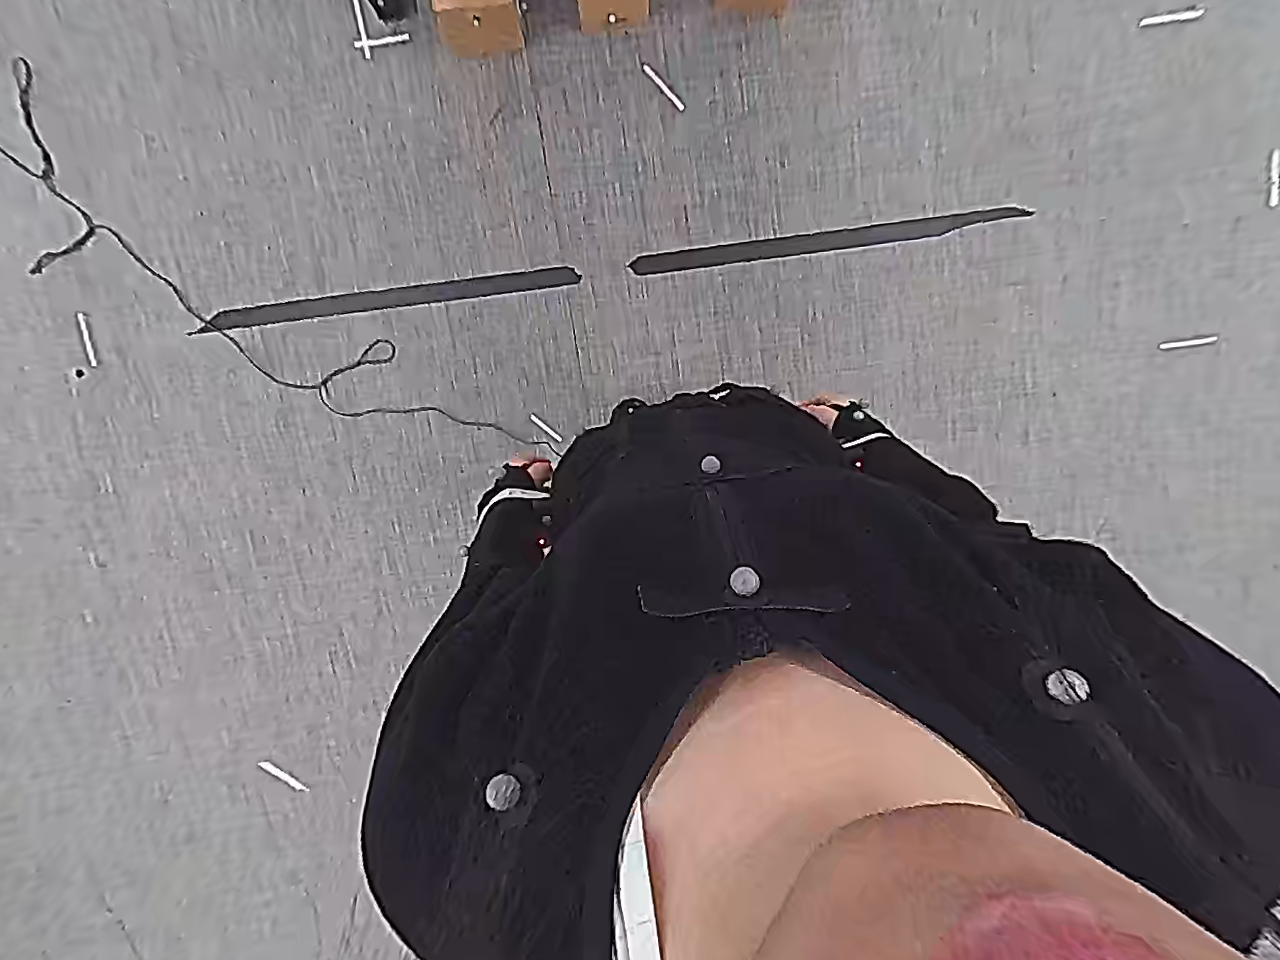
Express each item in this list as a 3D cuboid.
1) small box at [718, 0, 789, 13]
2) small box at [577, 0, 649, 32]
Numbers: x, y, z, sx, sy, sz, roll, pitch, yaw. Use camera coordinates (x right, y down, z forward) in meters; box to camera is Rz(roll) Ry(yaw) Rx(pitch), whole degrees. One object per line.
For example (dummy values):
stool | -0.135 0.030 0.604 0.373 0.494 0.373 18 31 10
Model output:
small box | 0.284 -1.216 1.230 0.179 0.176 0.168 9 99 -1
small box | -0.071 -1.179 1.230 0.168 0.176 0.179 -9 99 1
